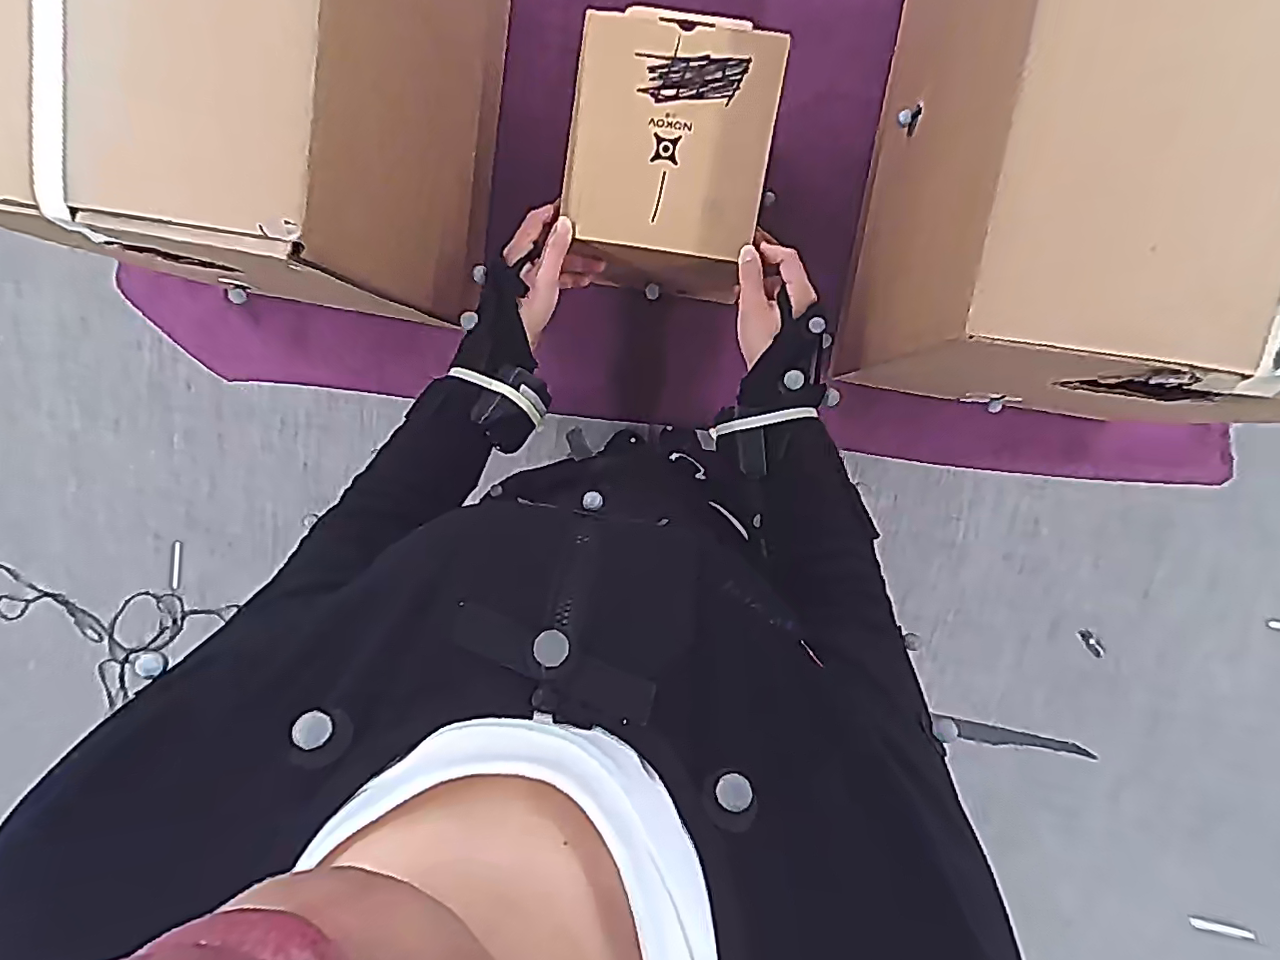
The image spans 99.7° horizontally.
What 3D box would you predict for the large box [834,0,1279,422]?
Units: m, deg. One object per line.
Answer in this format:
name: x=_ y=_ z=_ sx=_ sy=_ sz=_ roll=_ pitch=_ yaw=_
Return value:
large box: x=0.371 y=-0.263 z=0.423 sx=0.320 sy=0.320 sz=0.408 roll=9 pitch=96 yaw=4
